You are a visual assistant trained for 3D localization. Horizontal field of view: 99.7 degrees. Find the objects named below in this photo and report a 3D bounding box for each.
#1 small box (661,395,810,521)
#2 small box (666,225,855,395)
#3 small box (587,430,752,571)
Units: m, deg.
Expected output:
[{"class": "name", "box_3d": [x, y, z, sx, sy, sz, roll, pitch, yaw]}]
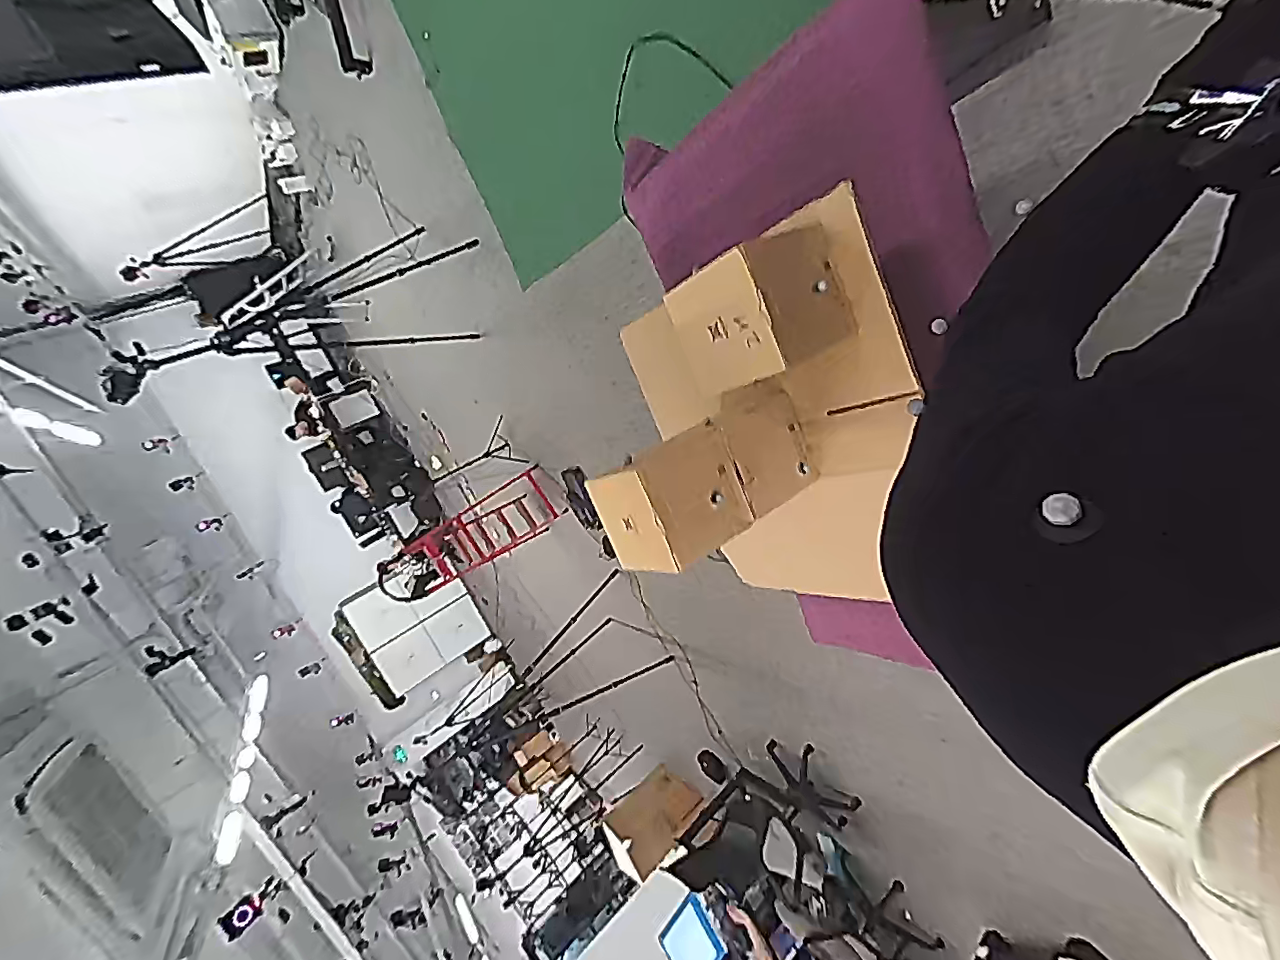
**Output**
[{"class": "small box", "box_3d": [0.173, -0.035, 0.951, 0.179, 0.176, 0.168, -10, 105, 59]}, {"class": "small box", "box_3d": [0.174, -0.242, 0.784, 0.179, 0.176, 0.168, -9, 108, 58]}, {"class": "small box", "box_3d": [0.047, 0.033, 0.876, 0.179, 0.176, 0.168, -12, 103, 58]}]
